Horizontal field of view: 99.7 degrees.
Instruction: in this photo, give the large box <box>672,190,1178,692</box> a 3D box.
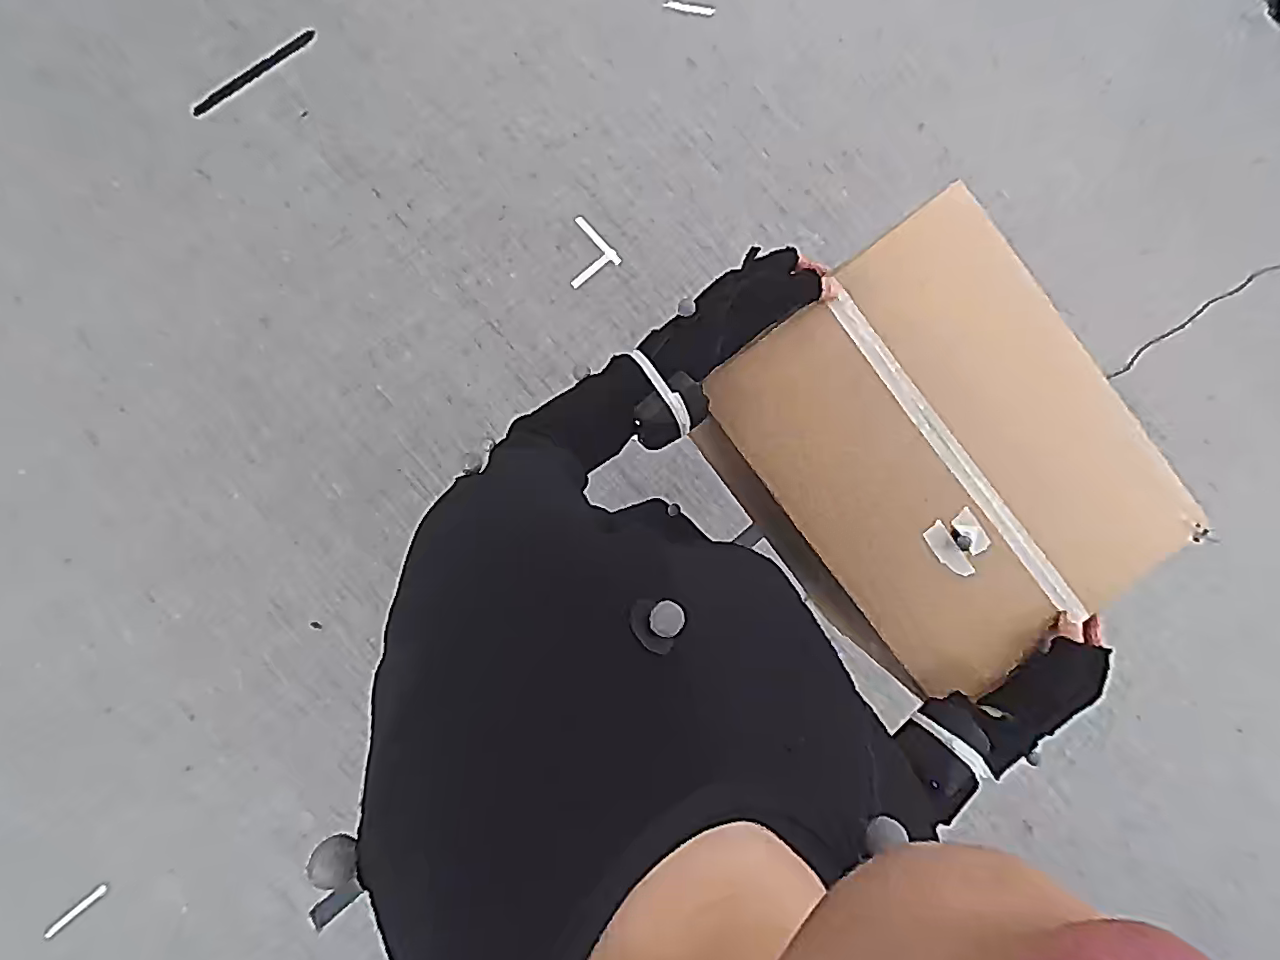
[{"bbox_3d":[0.288,-0.042,0.673,0.320,0.320,0.408,-37,93,2],"label":"large box"}]
